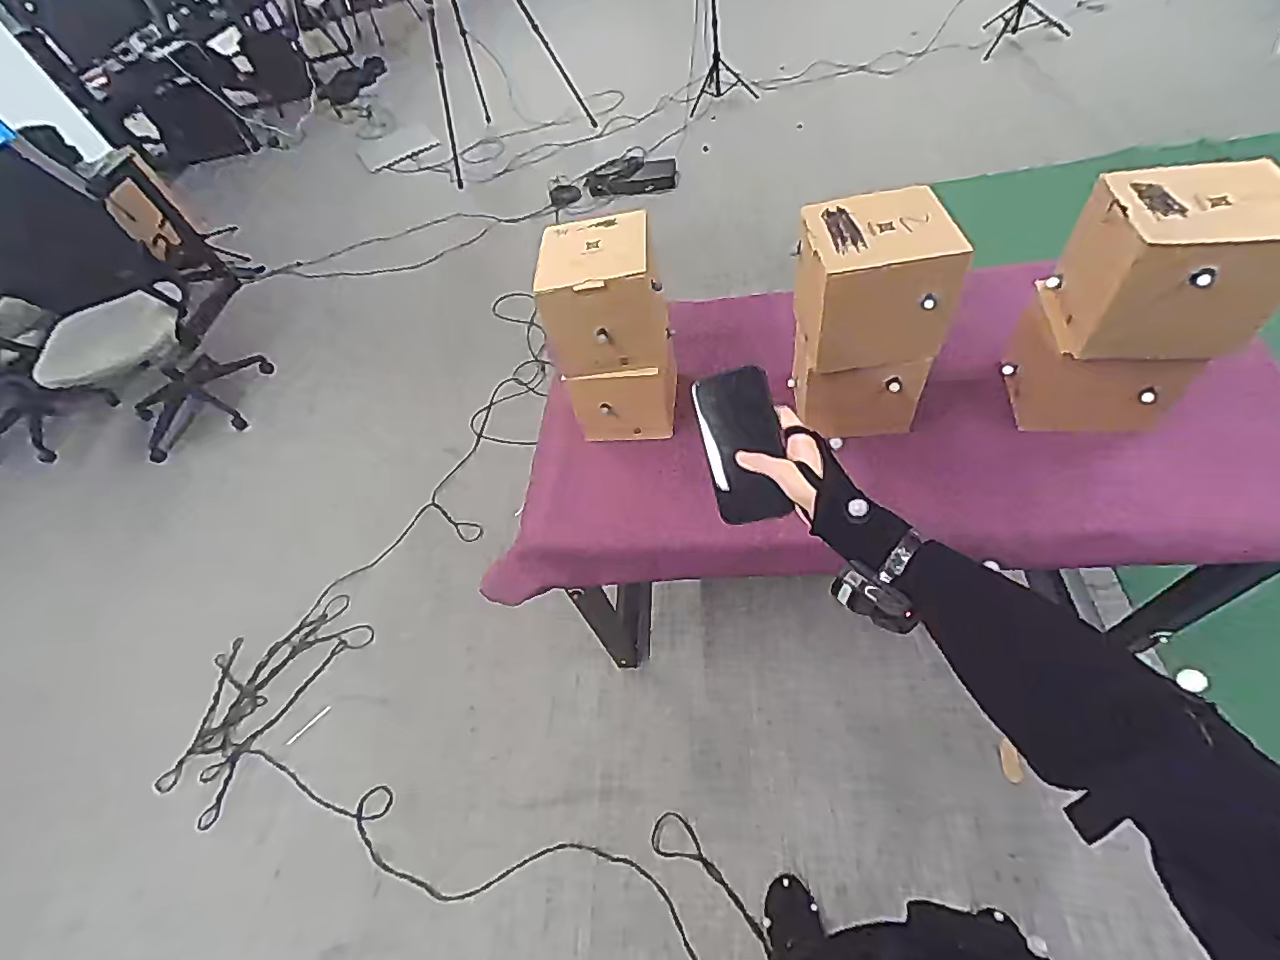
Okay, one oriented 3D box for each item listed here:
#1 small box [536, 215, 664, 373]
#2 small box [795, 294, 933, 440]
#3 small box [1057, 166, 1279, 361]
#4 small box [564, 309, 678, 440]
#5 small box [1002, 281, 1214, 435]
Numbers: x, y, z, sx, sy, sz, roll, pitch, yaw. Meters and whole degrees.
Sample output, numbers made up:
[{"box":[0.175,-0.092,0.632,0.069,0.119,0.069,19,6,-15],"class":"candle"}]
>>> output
[{"box":[-0.053,-0.287,0.863,0.168,0.176,0.179,-5,54,8],"class":"small box"},{"box":[0.357,-0.182,0.898,0.179,0.176,0.168,-2,54,12],"class":"small box"},{"box":[0.667,-0.266,0.684,0.179,0.176,0.168,3,55,14],"class":"small box"},{"box":[-0.024,-0.184,0.988,0.168,0.176,0.179,-2,54,12],"class":"small box"},{"box":[0.689,-0.182,0.823,0.179,0.176,0.168,3,54,15],"class":"small box"}]
